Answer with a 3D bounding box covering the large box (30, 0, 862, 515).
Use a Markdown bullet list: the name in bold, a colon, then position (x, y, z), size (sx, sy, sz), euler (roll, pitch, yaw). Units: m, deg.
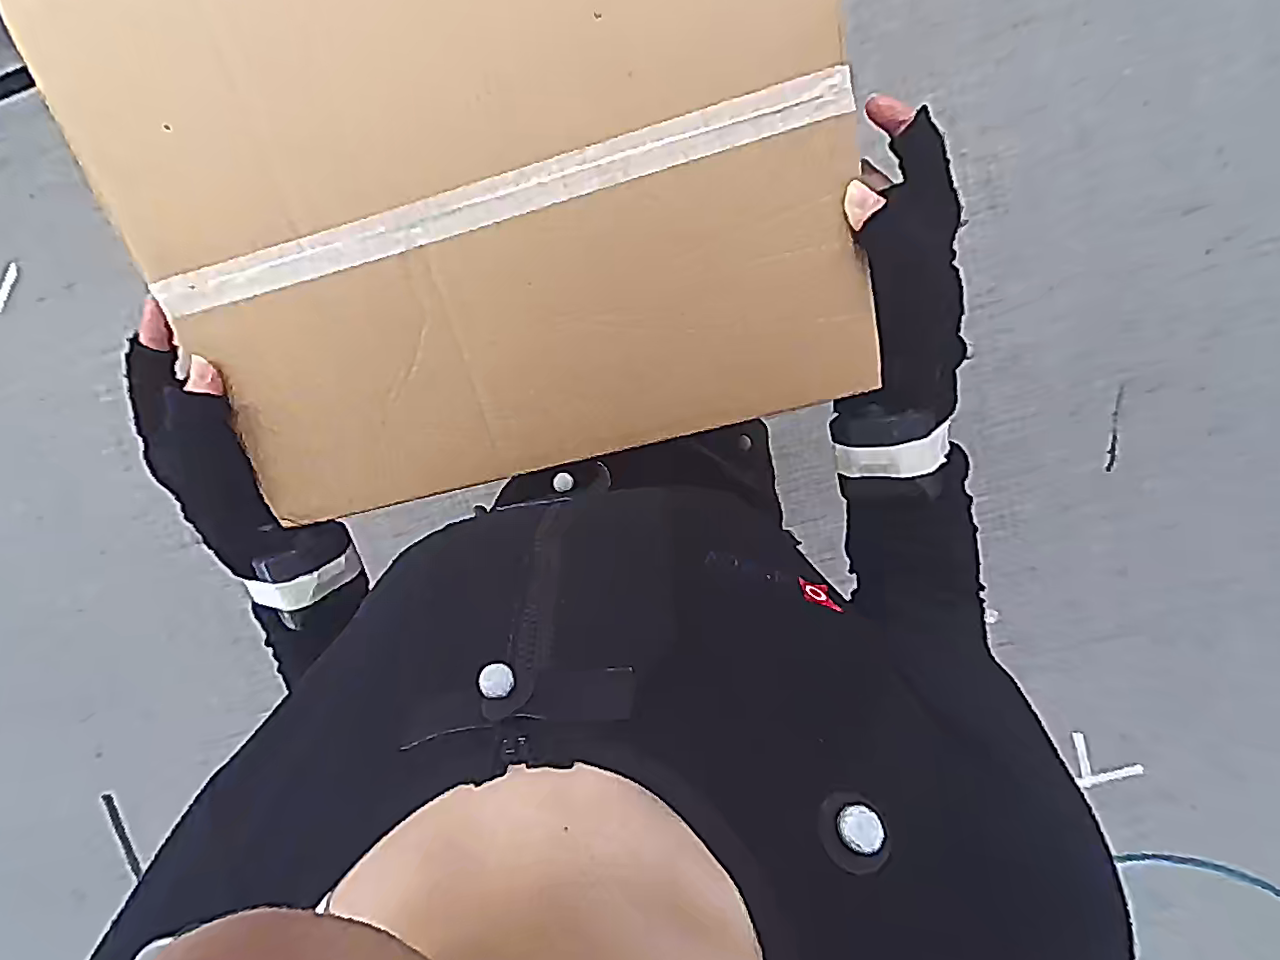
- **large box**: position (-0.085, -0.212, 0.446), size (0.408, 0.320, 0.320), euler (-13, 109, 7)
